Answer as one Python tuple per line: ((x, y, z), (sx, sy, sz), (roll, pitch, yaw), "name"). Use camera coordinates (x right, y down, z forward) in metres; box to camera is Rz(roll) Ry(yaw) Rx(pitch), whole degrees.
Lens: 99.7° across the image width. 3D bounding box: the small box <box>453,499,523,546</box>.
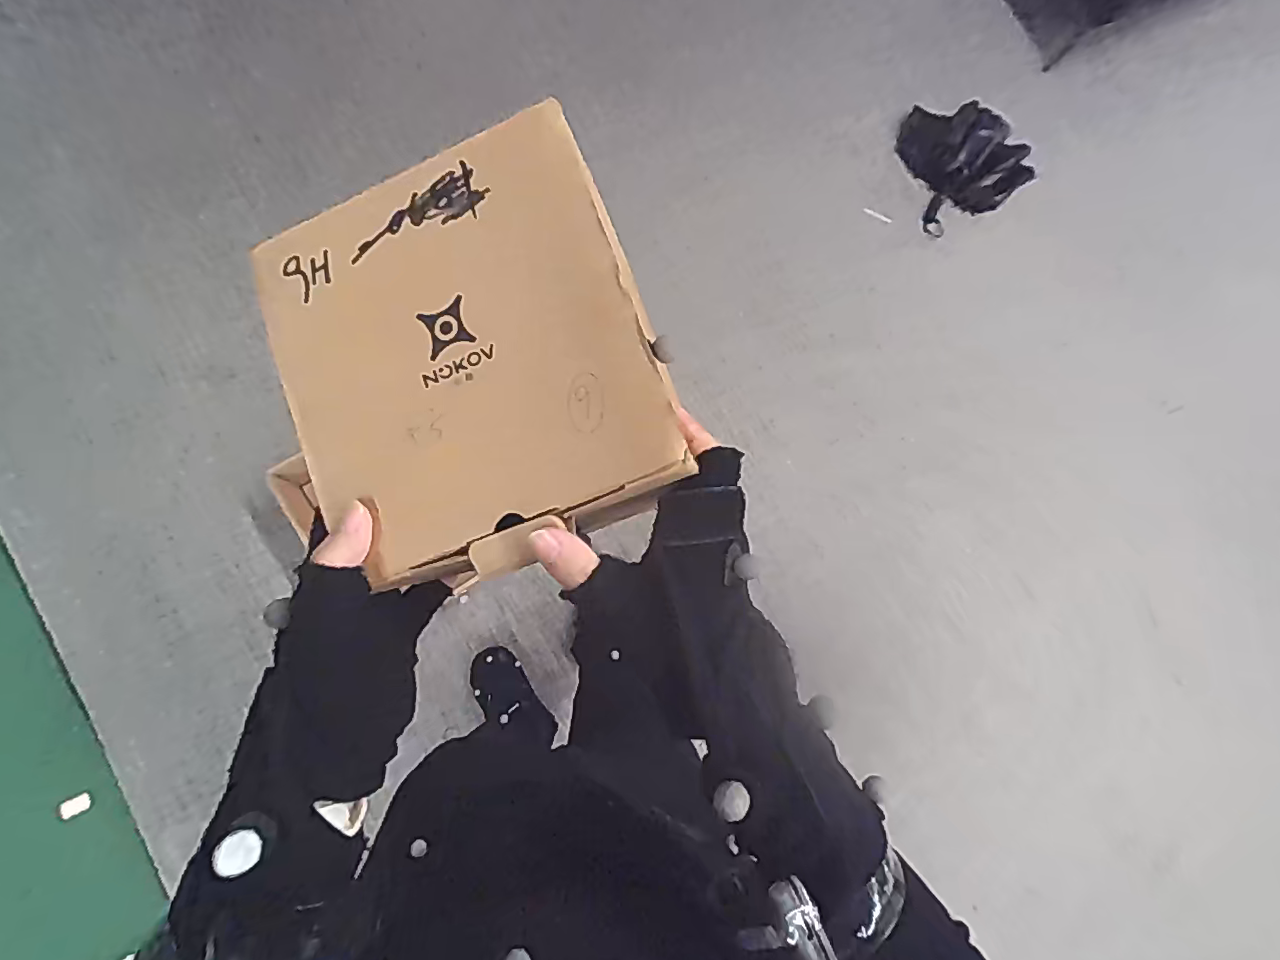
((-0.364, 0.030, 1.169), (0.168, 0.176, 0.179), (-33, 84, -16), "small box")
